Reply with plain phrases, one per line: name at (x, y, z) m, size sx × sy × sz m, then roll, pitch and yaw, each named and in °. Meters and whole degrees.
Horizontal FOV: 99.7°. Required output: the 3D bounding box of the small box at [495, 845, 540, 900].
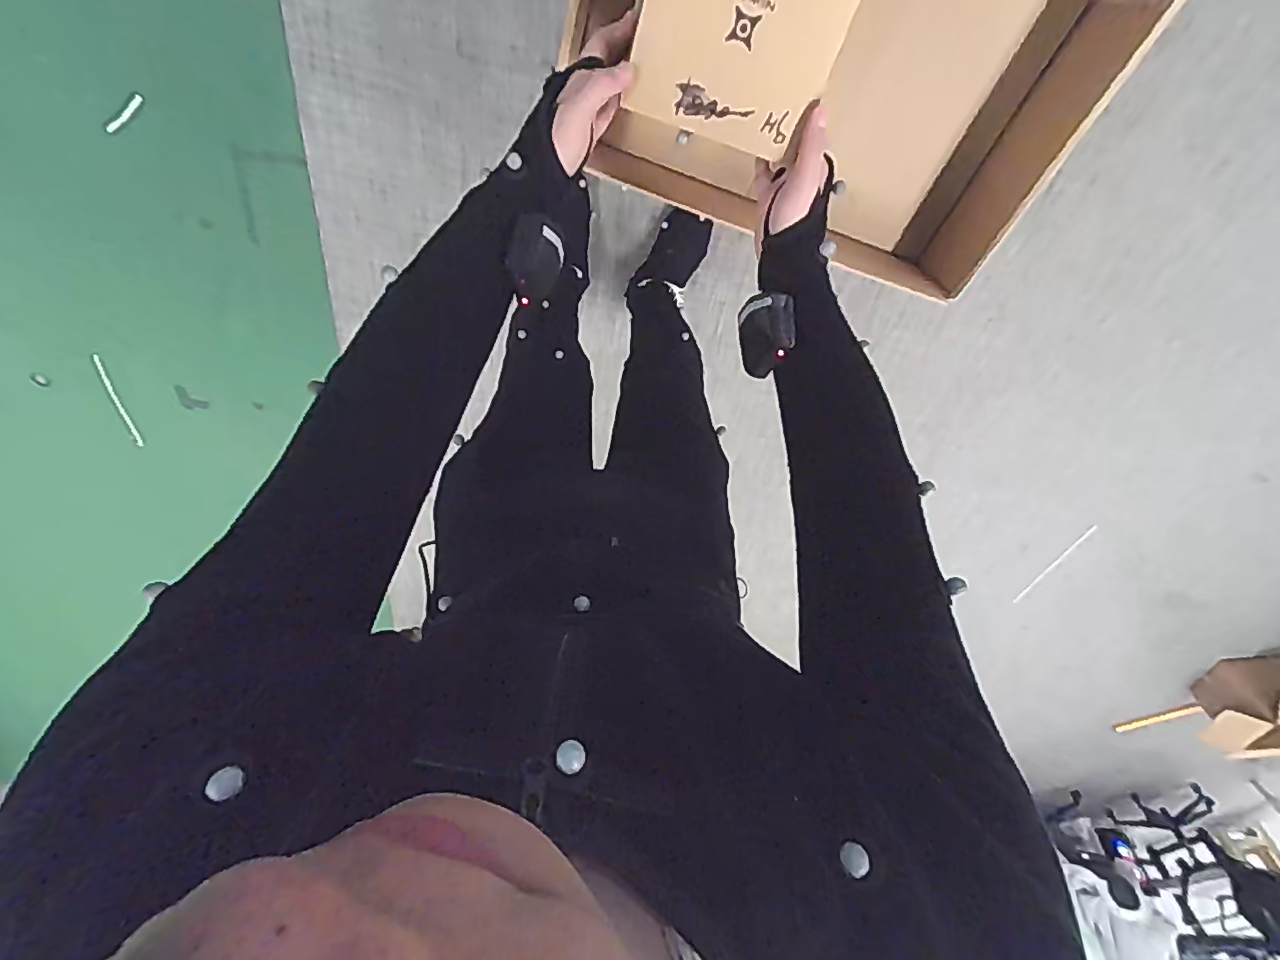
small box at (-0.477, 1.554, 2.162) m, size 0.168 × 0.176 × 0.179 m, roll 10°, pitch 131°, yaw -7°

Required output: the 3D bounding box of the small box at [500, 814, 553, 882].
small box at (-0.406, 1.323, 1.943) m, size 0.168 × 0.176 × 0.179 m, roll 7°, pitch 134°, yaw -7°

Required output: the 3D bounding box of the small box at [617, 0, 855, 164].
small box at (0.078, -0.421, 0.485) m, size 0.168 × 0.176 × 0.179 m, roll 12°, pitch 130°, yaw -12°
